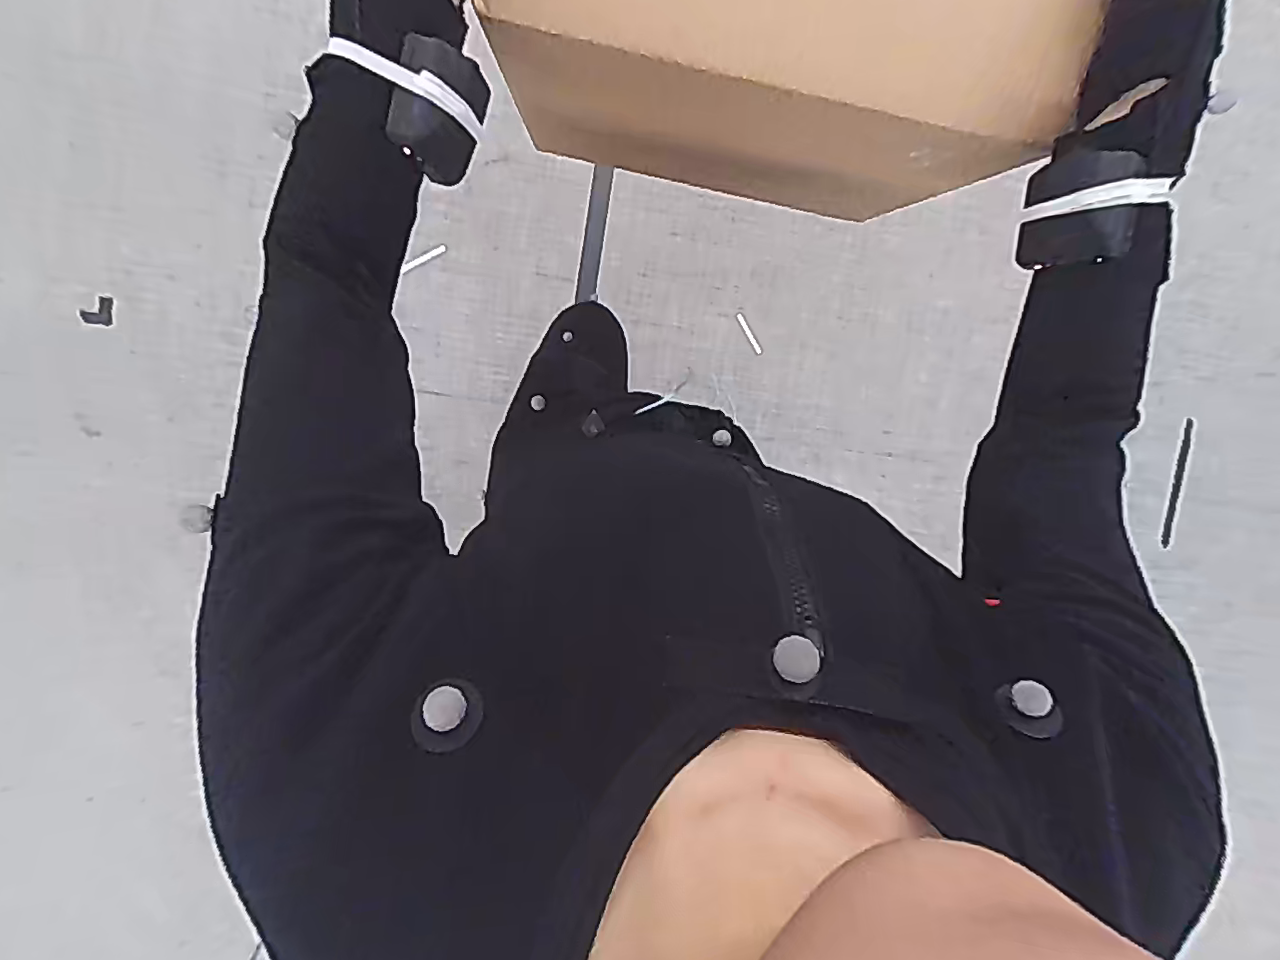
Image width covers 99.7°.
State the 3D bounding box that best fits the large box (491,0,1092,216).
[{"bbox_3d":[0.110,-0.455,0.469,0.408,0.320,0.320,9,107,-7],"label":"large box"}]
